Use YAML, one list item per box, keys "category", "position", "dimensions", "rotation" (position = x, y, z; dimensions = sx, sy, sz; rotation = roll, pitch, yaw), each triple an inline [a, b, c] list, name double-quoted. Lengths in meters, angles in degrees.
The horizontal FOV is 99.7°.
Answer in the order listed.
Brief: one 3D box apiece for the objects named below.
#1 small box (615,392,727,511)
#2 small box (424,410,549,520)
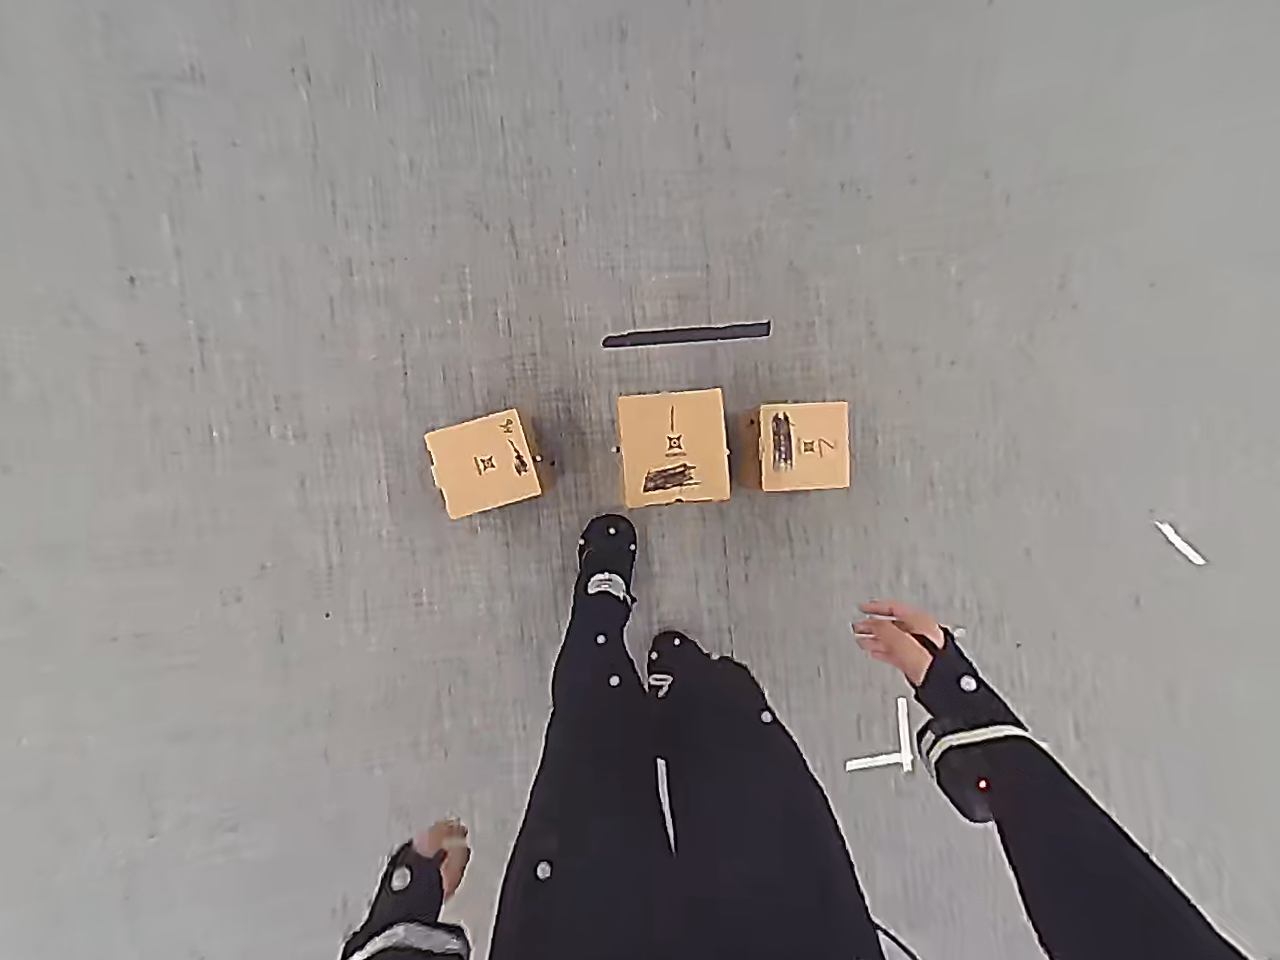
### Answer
- category: "small box"
  position: [0.046, -0.048, 0.915]
  dimensions: [0.168, 0.176, 0.179]
  rotation: [-5, 92, -4]
- category: "small box"
  position: [-0.291, -0.029, 1.059]
  dimensions: [0.179, 0.176, 0.168]
  rotation: [-16, 94, -3]
